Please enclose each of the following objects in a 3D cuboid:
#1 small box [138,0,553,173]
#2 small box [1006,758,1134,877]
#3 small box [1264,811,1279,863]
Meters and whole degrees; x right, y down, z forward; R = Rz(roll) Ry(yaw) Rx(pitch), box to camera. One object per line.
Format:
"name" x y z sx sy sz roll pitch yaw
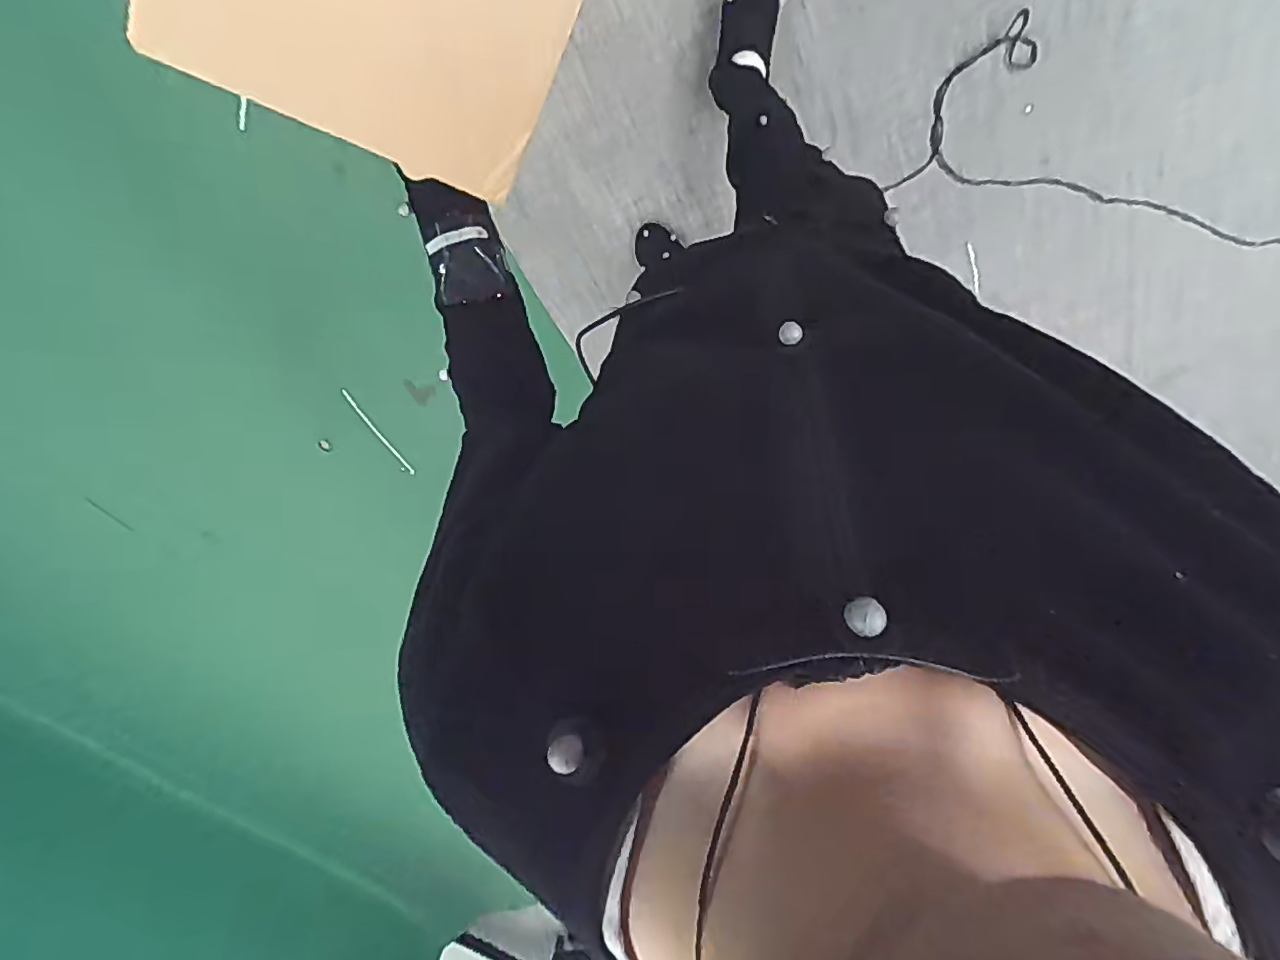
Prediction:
"small box" -0.138 -0.297 0.266 0.168 0.179 0.176 4 129 -42
"small box" 0.949 0.745 1.206 0.168 0.176 0.179 -23 123 16
"small box" 1.292 0.694 0.965 0.168 0.176 0.179 -21 121 15
